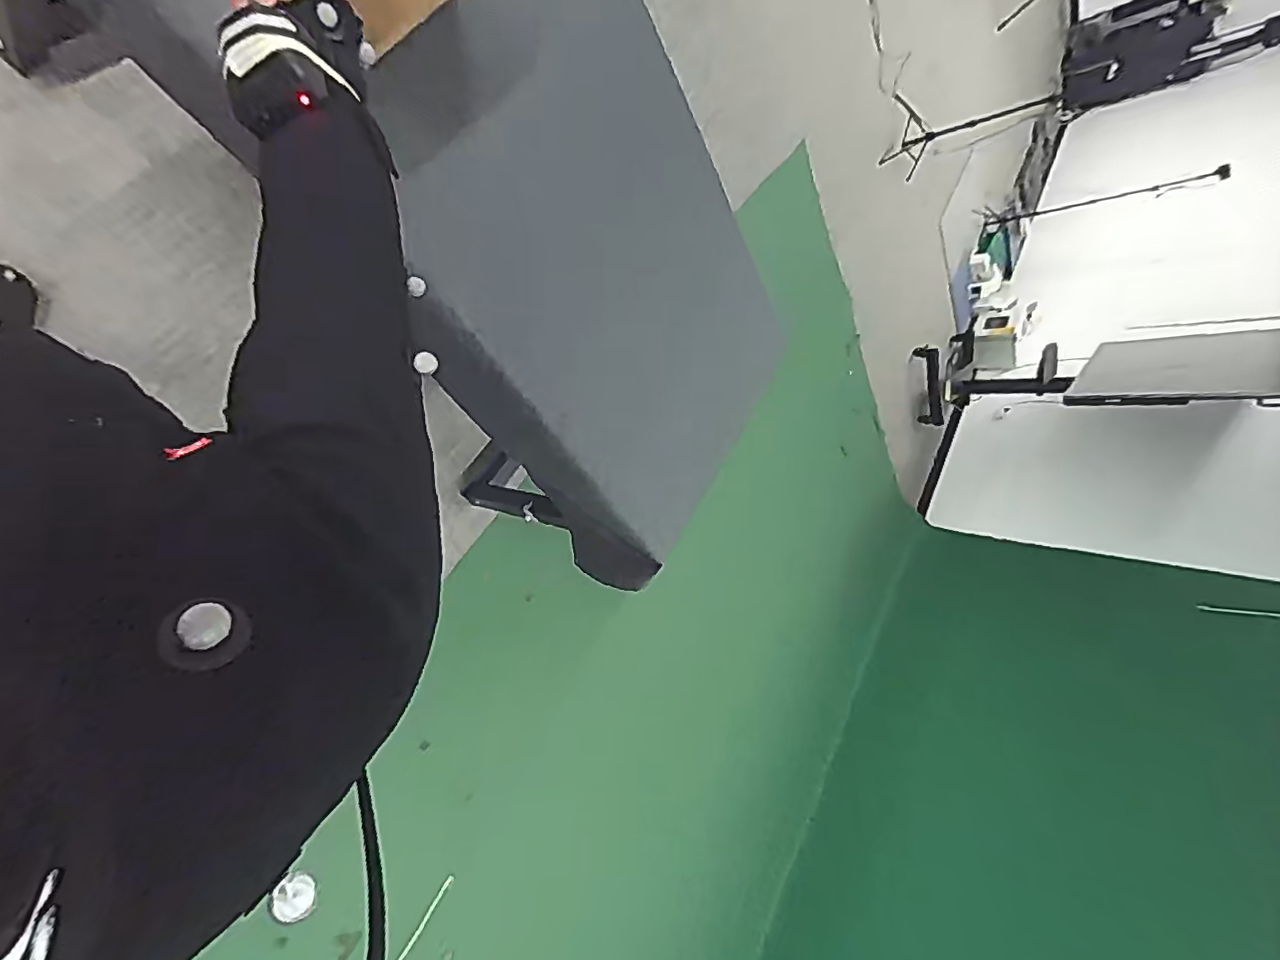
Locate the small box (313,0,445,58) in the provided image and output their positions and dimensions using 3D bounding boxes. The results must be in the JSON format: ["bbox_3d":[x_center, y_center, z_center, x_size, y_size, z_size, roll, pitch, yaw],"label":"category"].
[{"bbox_3d":[-0.243,-0.559,0.514,0.168,0.176,0.179,48,62,-40],"label":"small box"}]
